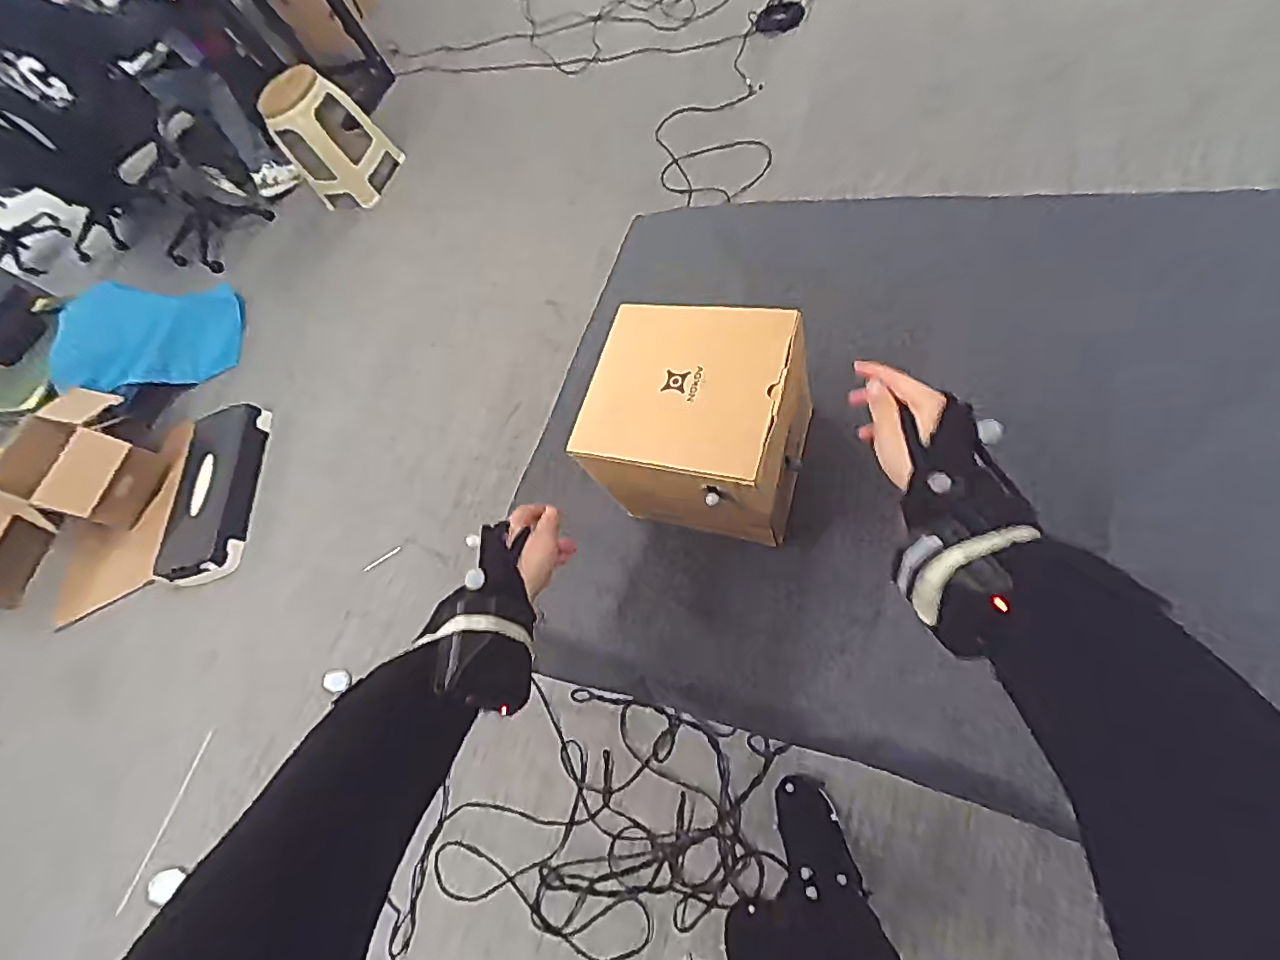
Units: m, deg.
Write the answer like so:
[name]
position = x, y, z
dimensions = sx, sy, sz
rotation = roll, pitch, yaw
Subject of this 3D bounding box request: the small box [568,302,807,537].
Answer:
[small box]
position = 0.061, -0.055, 0.541
dimensions = 0.179, 0.176, 0.168
rotation = 11, 71, 23
